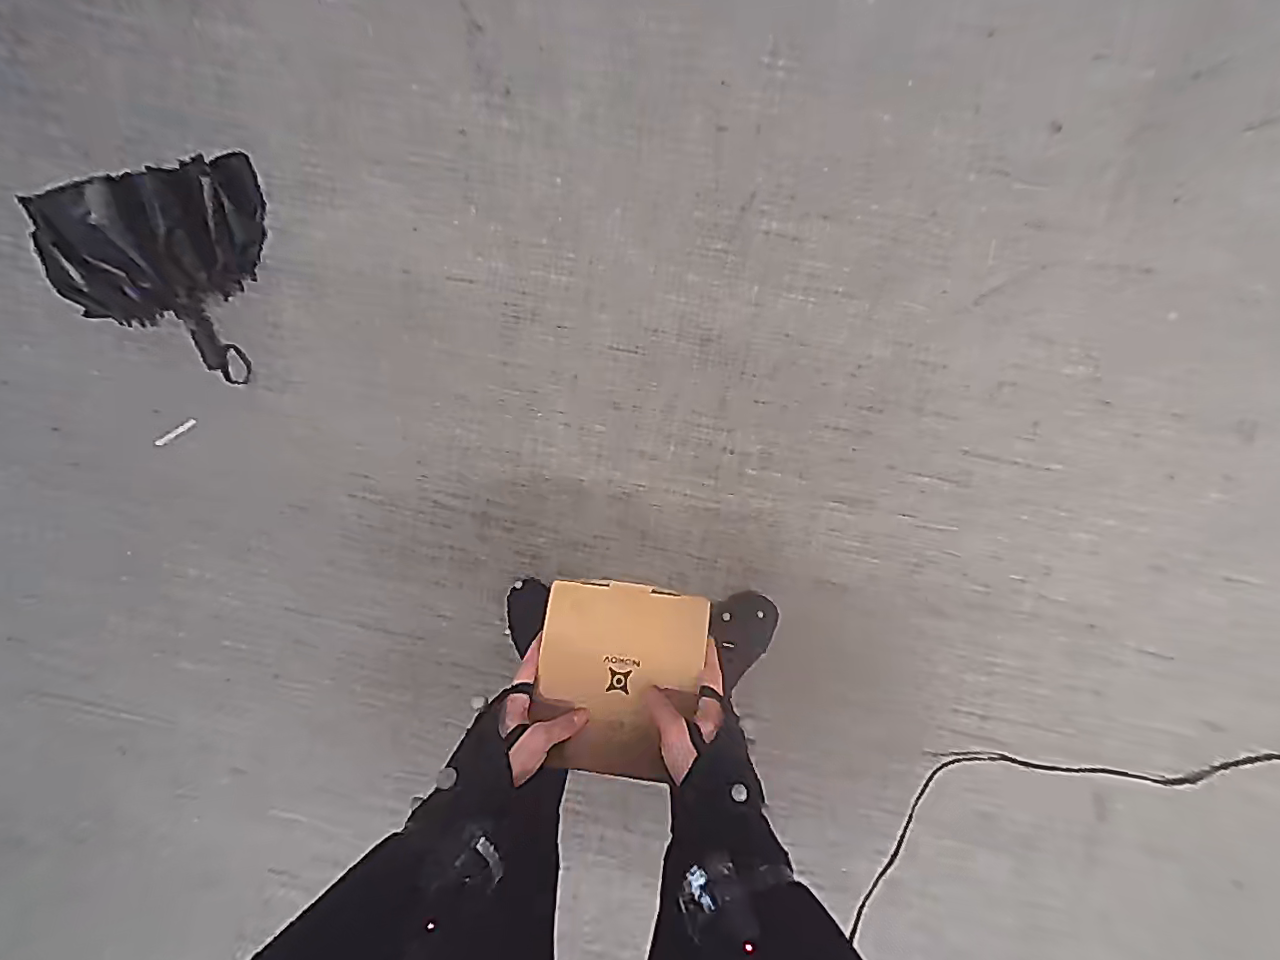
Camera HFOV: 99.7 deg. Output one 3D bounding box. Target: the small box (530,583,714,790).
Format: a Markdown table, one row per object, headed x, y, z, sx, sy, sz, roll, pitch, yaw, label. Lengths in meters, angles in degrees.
| x | y | z | sx | sy | sz | roll | pitch | yaw | label |
| --- | --- | --- | --- | --- | --- | --- | --- | --- | --- |
| -0.013 | 0.222 | 0.609 | 0.168 | 0.176 | 0.179 | 6 | 74 | 4 | small box |
